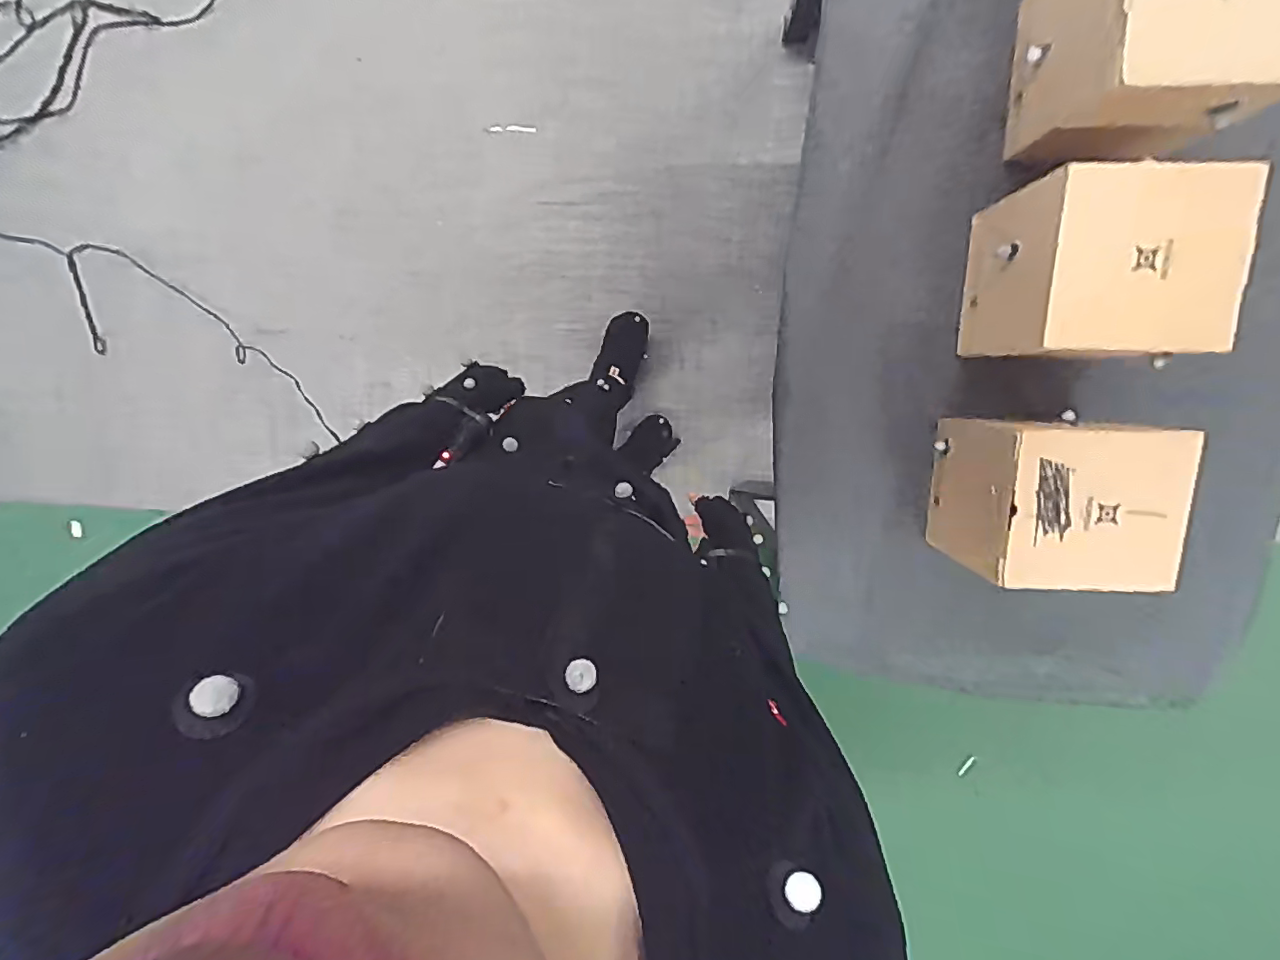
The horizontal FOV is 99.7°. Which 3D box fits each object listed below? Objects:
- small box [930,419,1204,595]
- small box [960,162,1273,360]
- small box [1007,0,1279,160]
[{"bbox_3d":[0.460,0.020,0.617,0.179,0.176,0.168,1,101,2],"label":"small box"},{"bbox_3d":[0.475,-0.216,0.574,0.179,0.176,0.168,1,101,2],"label":"small box"},{"bbox_3d":[0.507,-0.433,0.527,0.179,0.176,0.168,1,101,3],"label":"small box"}]
